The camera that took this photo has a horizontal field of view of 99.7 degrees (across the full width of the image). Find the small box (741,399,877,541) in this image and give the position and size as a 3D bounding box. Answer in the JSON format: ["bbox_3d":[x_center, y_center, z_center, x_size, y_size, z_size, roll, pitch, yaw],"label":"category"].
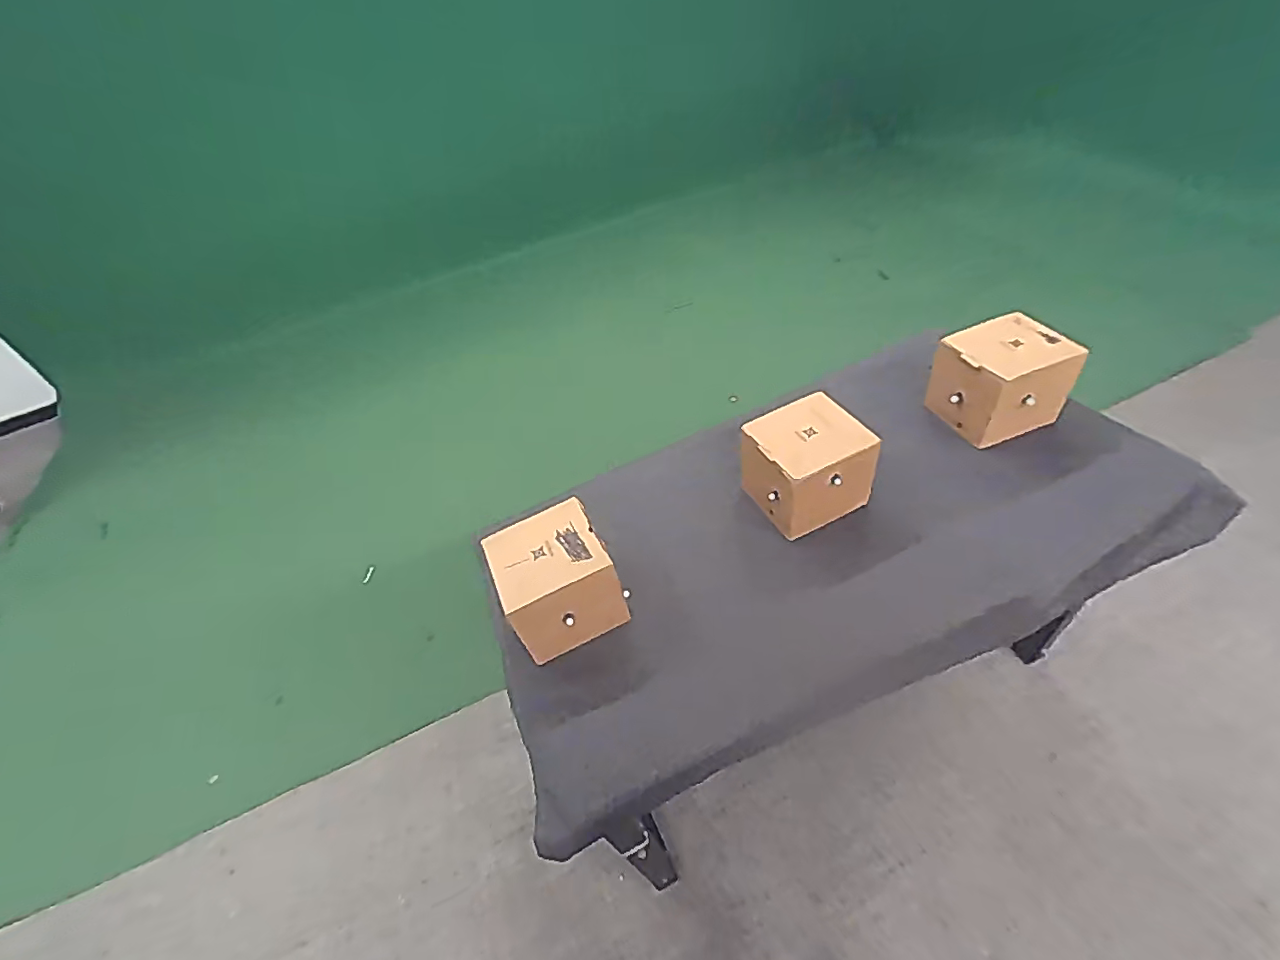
[{"bbox_3d":[0.305,-0.015,1.001,0.179,0.176,0.168,-23,47,-11],"label":"small box"}]

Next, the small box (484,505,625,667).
[{"bbox_3d":[-0.136,0.179,0.911,0.179,0.176,0.168,-25,46,-10],"label":"small box"}]

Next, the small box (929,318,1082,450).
[{"bbox_3d":[0.701,-0.185,1.067,0.179,0.176,0.168,-20,46,-5],"label":"small box"}]
